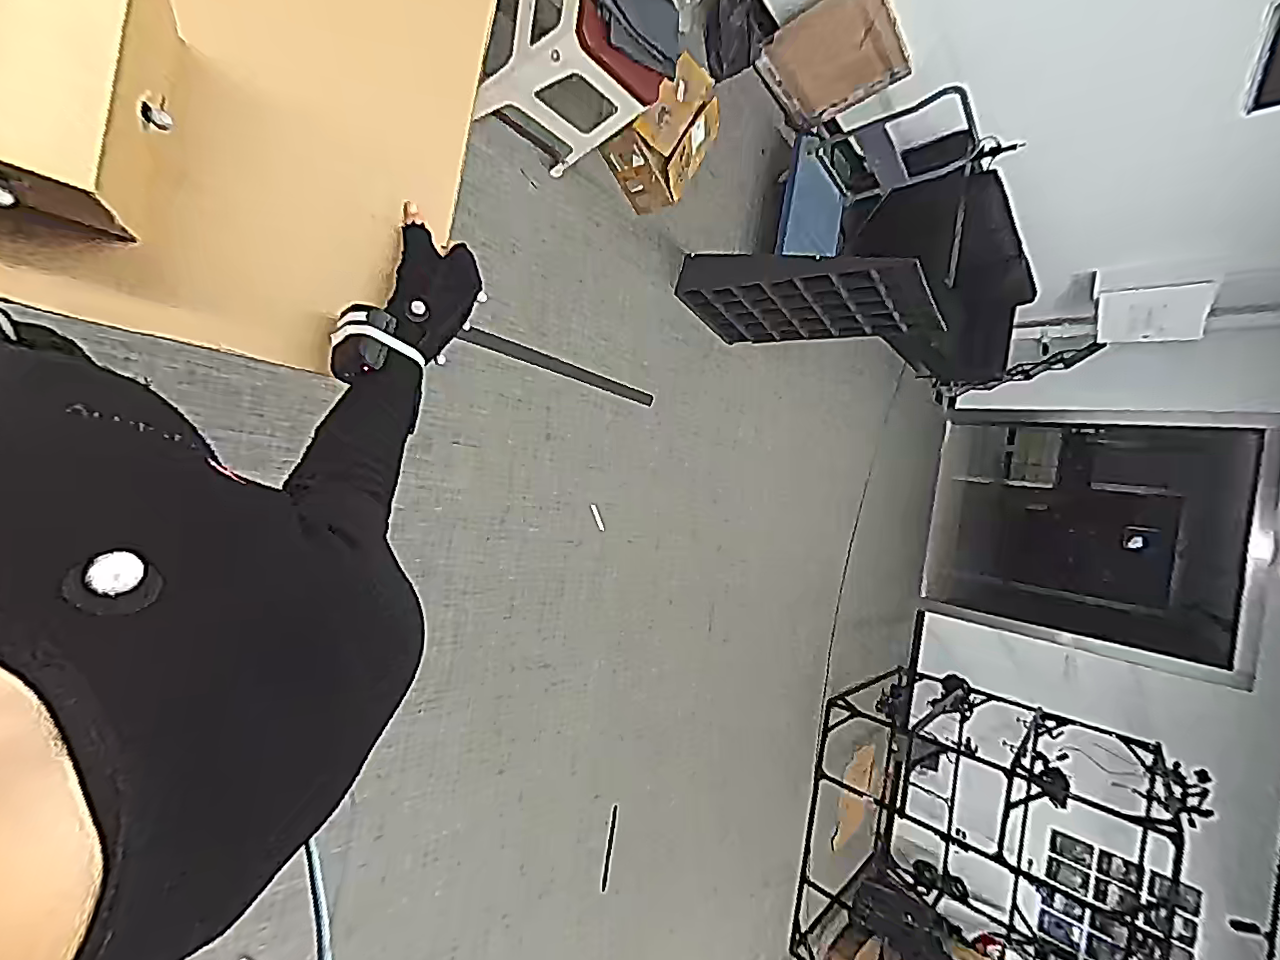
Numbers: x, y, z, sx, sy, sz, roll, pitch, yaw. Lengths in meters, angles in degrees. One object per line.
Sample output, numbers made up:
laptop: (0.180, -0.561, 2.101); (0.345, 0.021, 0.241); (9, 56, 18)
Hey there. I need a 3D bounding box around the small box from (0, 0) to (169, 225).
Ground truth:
small box: (-0.410, -0.272, 0.319); (0.179, 0.176, 0.168); (12, 93, -37)
